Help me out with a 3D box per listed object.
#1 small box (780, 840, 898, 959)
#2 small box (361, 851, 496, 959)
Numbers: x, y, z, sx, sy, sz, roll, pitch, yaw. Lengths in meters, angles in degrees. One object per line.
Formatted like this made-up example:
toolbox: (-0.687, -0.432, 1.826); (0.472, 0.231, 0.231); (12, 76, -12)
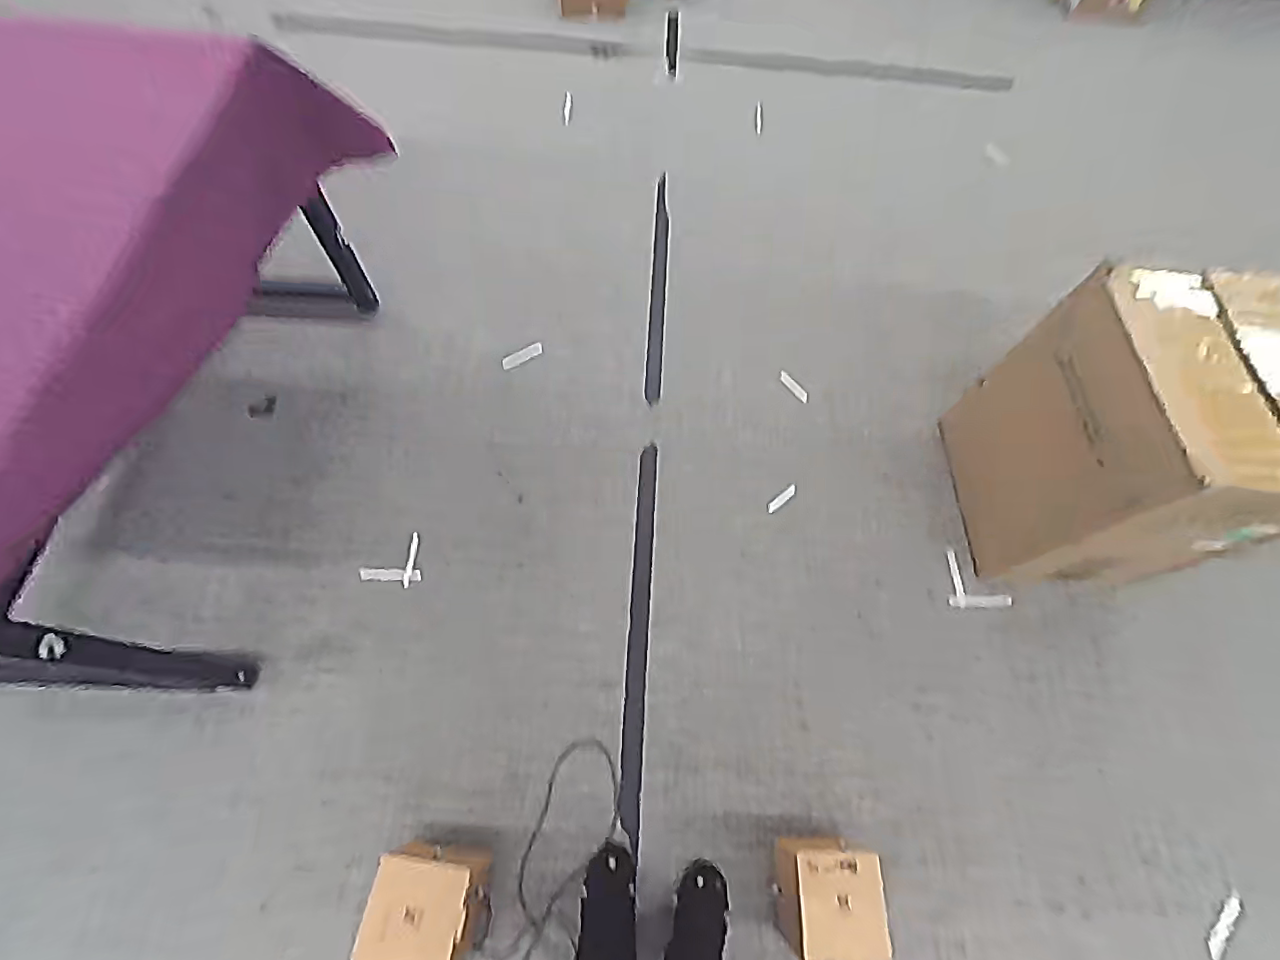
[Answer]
small box: (0.386, 0.840, 1.076); (0.168, 0.176, 0.179); (3, 65, -2)
small box: (-0.393, 0.831, 1.037); (0.179, 0.176, 0.168); (7, 62, 4)
